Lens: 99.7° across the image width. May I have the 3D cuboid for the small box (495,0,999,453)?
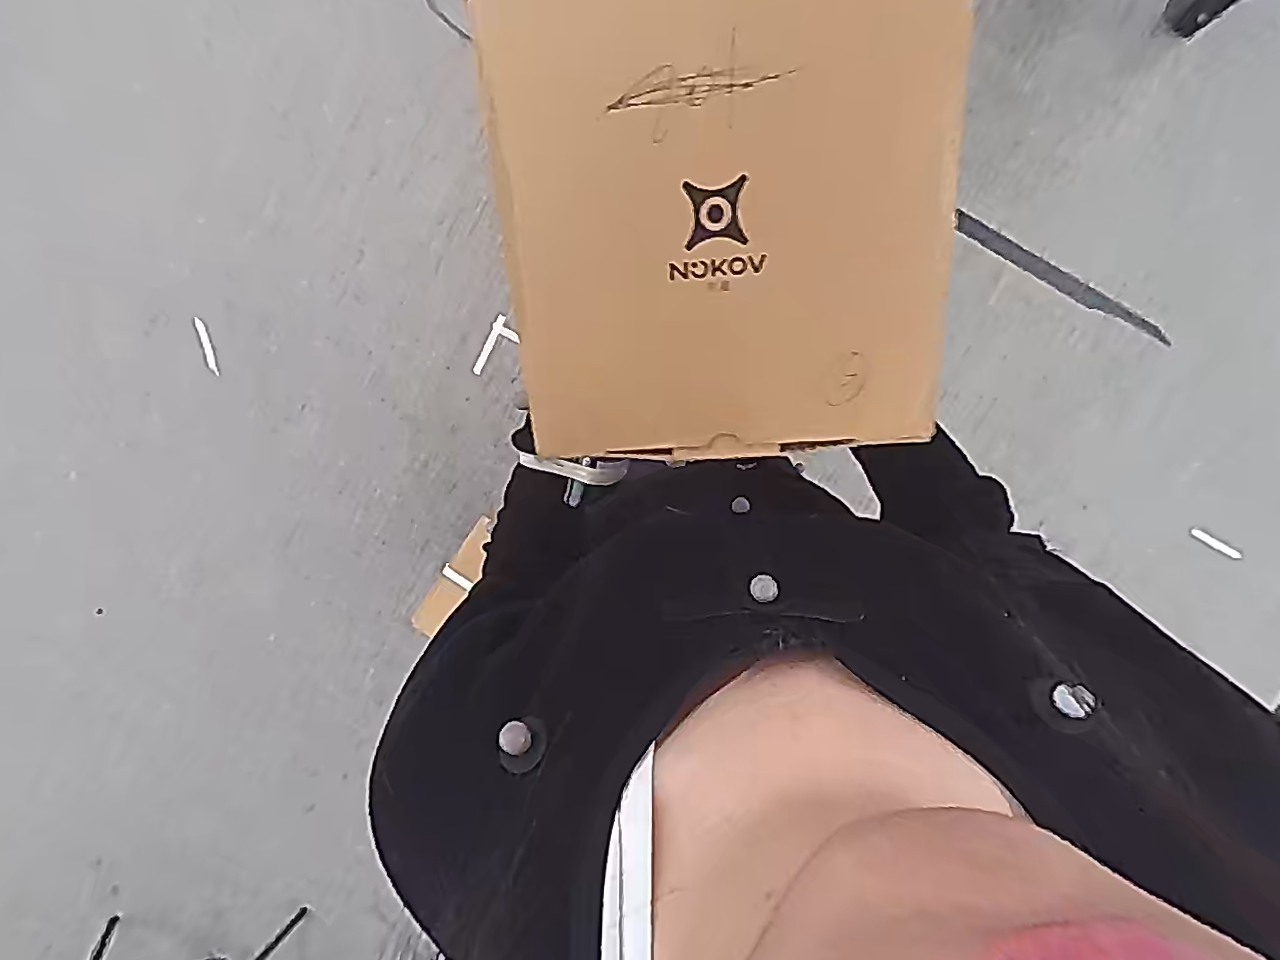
[{"bbox_3d":[0.047,-0.122,0.274,0.168,0.176,0.179,-3,108,8],"label":"small box"}]
